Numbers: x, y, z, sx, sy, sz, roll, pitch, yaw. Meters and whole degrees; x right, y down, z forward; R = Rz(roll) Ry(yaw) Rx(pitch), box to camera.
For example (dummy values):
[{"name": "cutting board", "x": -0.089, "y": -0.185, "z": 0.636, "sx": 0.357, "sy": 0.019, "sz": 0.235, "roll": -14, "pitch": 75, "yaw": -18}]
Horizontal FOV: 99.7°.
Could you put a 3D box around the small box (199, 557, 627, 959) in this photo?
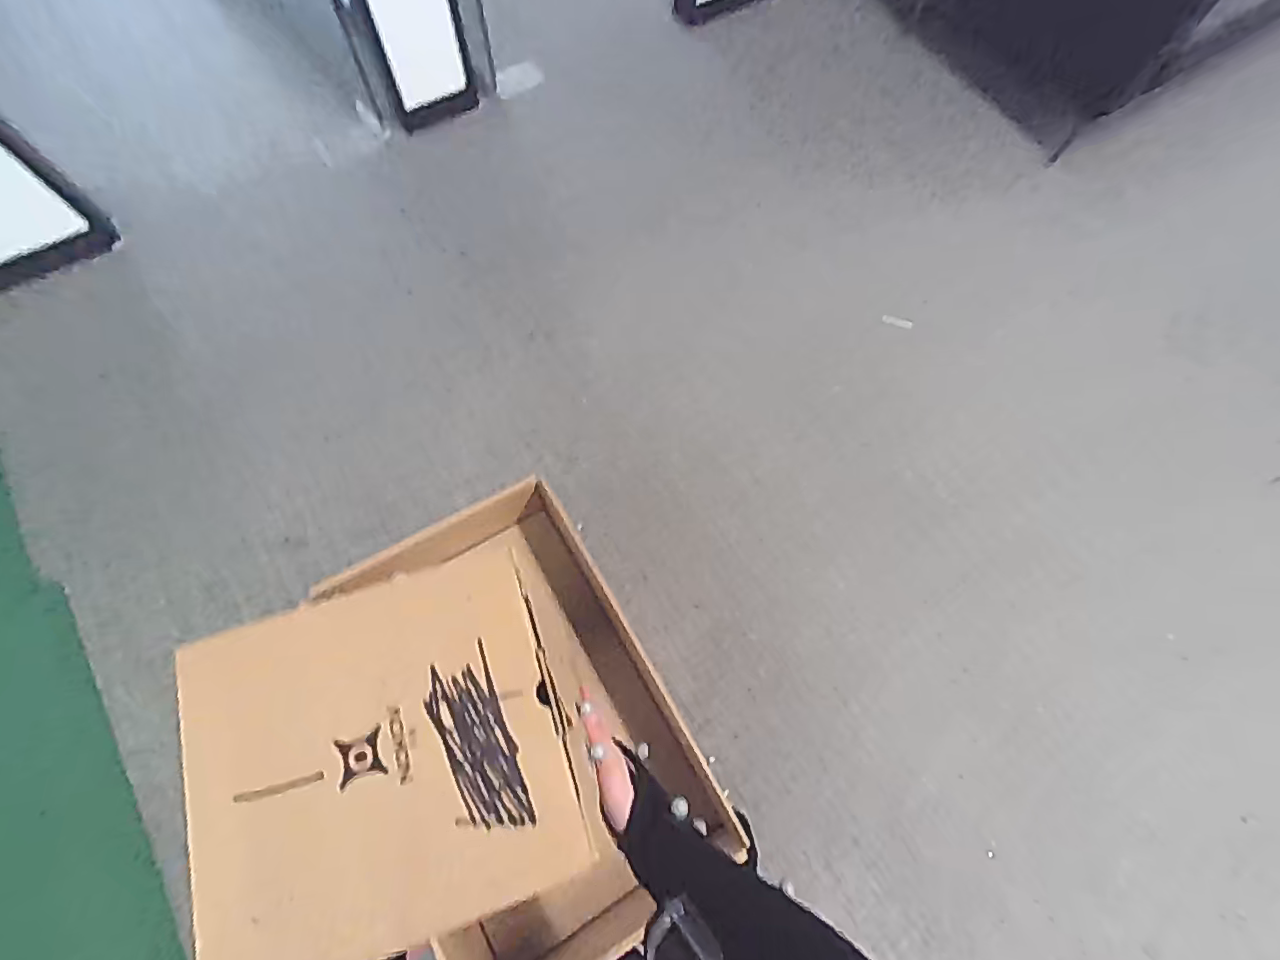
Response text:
[{"name": "small box", "x": -0.118, "y": 0.161, "z": 0.333, "sx": 0.179, "sy": 0.176, "sz": 0.168, "roll": -16, "pitch": 72, "yaw": -10}]
